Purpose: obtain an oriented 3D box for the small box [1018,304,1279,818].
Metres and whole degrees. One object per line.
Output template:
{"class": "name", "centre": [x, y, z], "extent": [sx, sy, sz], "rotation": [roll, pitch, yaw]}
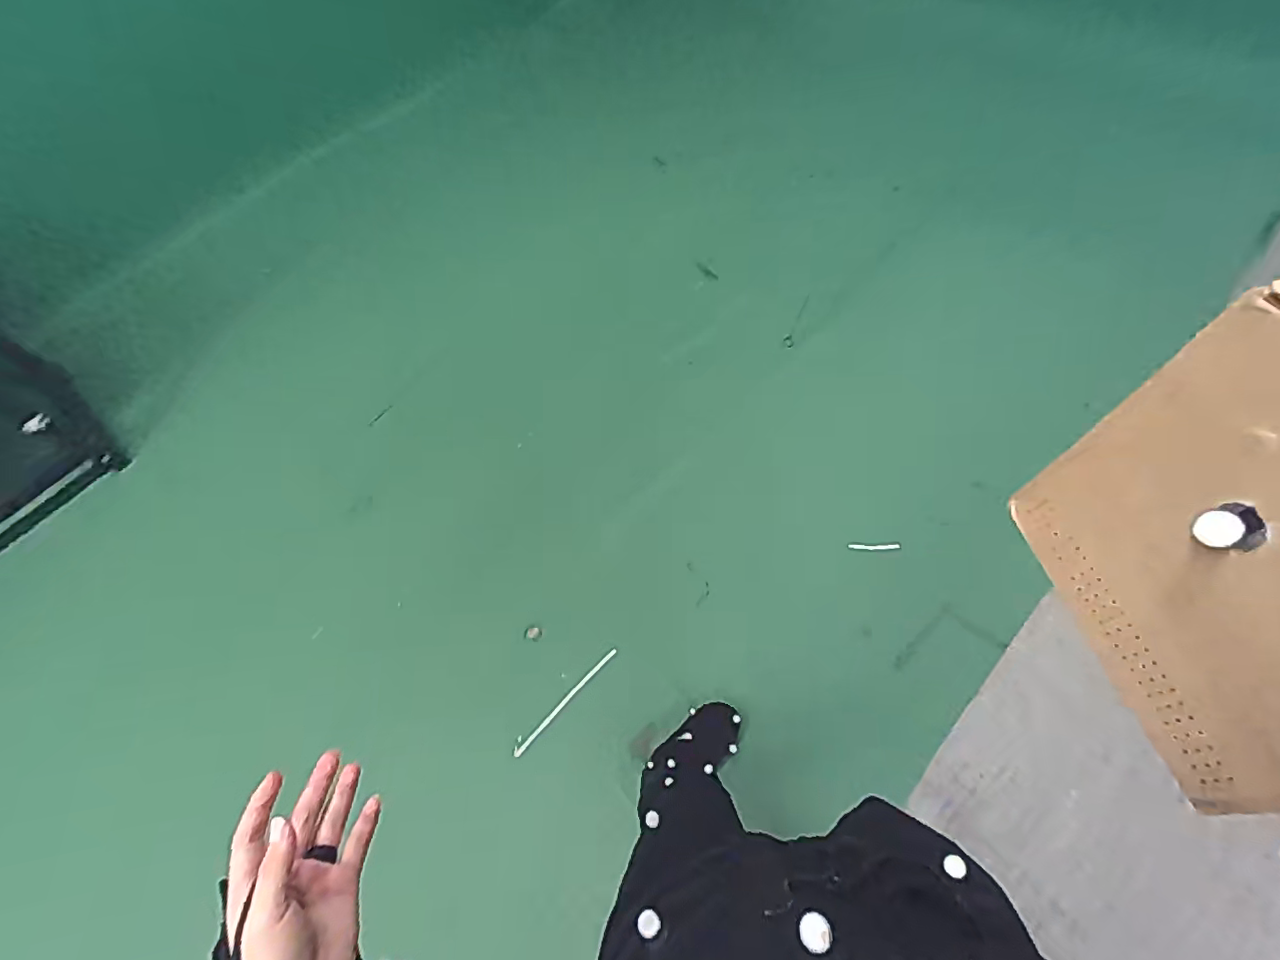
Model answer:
{"class": "small box", "centre": [0.332, 0.037, 0.250], "extent": [0.168, 0.176, 0.179], "rotation": [-7, 56, -7]}
